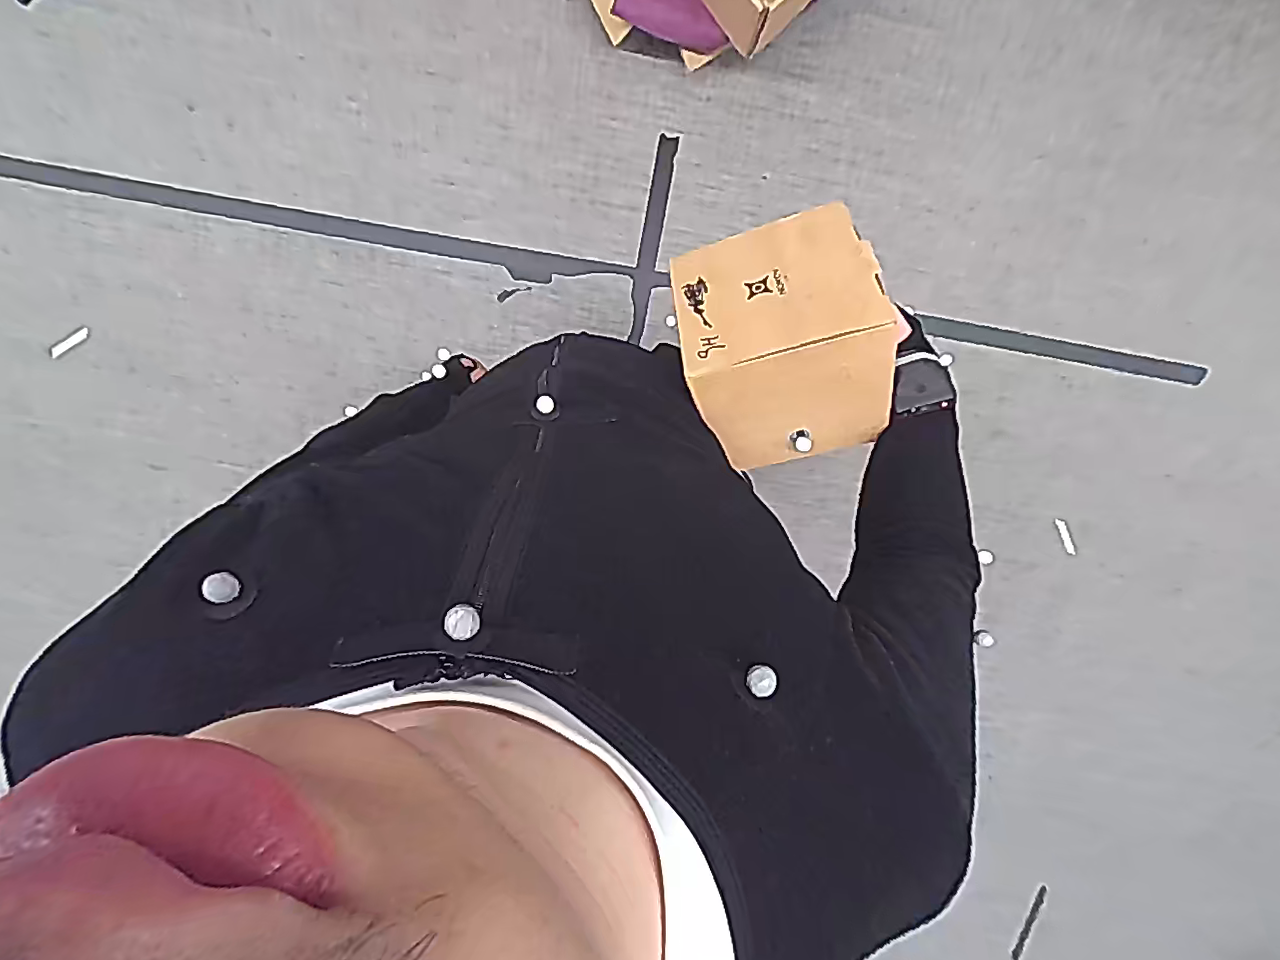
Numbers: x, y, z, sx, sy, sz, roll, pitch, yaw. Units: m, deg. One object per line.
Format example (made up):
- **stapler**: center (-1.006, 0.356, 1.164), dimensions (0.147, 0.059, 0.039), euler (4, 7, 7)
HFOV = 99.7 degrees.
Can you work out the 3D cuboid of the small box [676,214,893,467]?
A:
- **small box**: center (0.147, -0.136, 0.573), dimensions (0.179, 0.168, 0.176), euler (-13, 146, 13)
